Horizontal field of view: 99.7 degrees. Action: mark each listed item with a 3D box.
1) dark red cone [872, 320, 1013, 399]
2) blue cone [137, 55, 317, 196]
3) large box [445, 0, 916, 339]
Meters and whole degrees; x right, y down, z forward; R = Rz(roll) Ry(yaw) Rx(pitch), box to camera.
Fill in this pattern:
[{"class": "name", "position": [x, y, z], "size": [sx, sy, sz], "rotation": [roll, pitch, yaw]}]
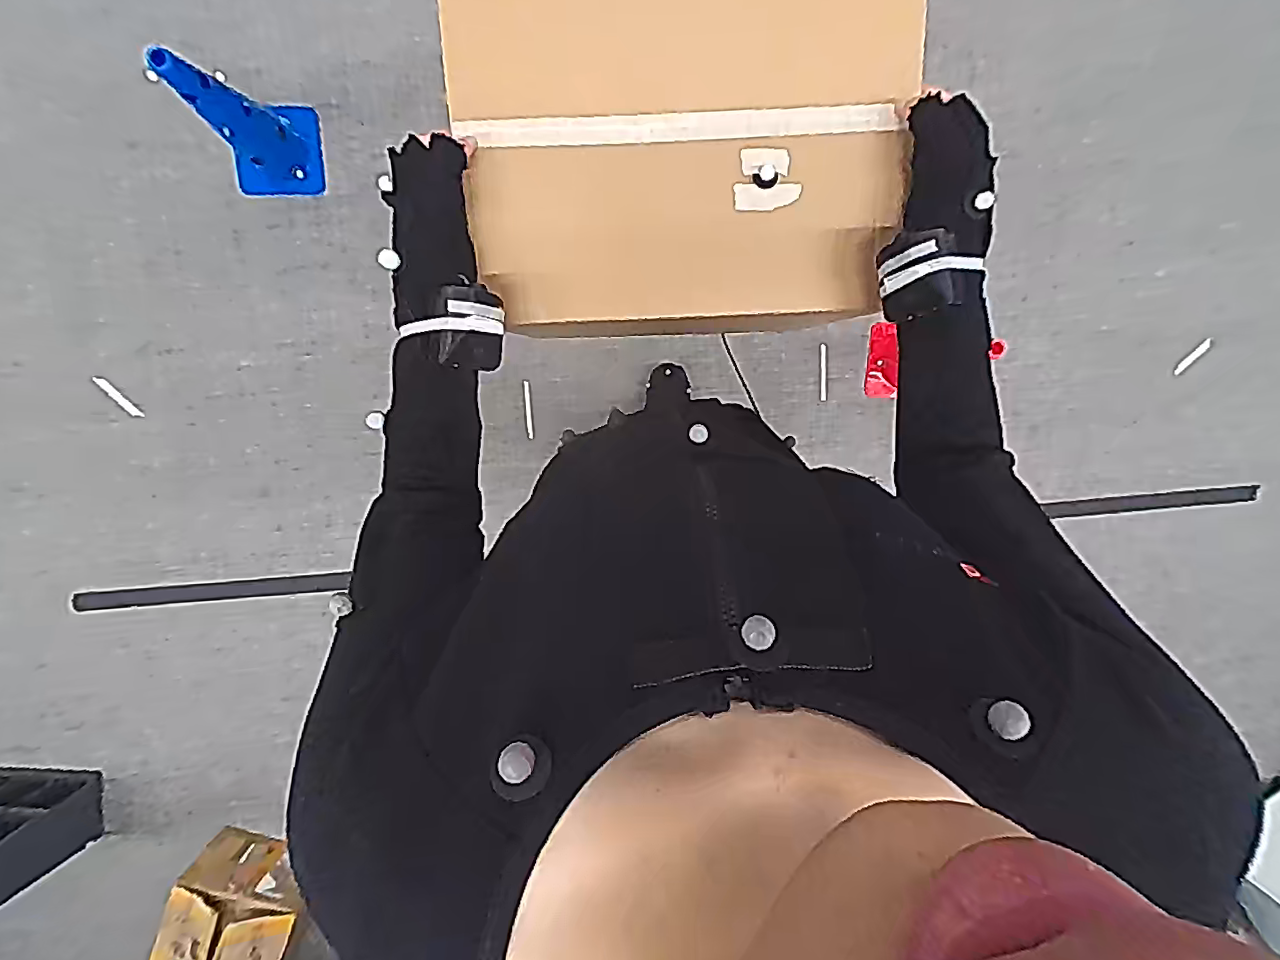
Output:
[{"class": "dark red cone", "position": [0.728, -0.297, 1.280], "size": [0.201, 0.394, 0.202], "rotation": [2, 98, -3]}, {"class": "blue cone", "position": [-0.870, -0.761, 1.138], "size": [0.192, 0.380, 0.193], "rotation": [-1, 98, -3]}, {"class": "large box", "position": [0.035, -0.339, 0.618], "size": [0.408, 0.320, 0.320], "rotation": [-3, 102, -1]}]
